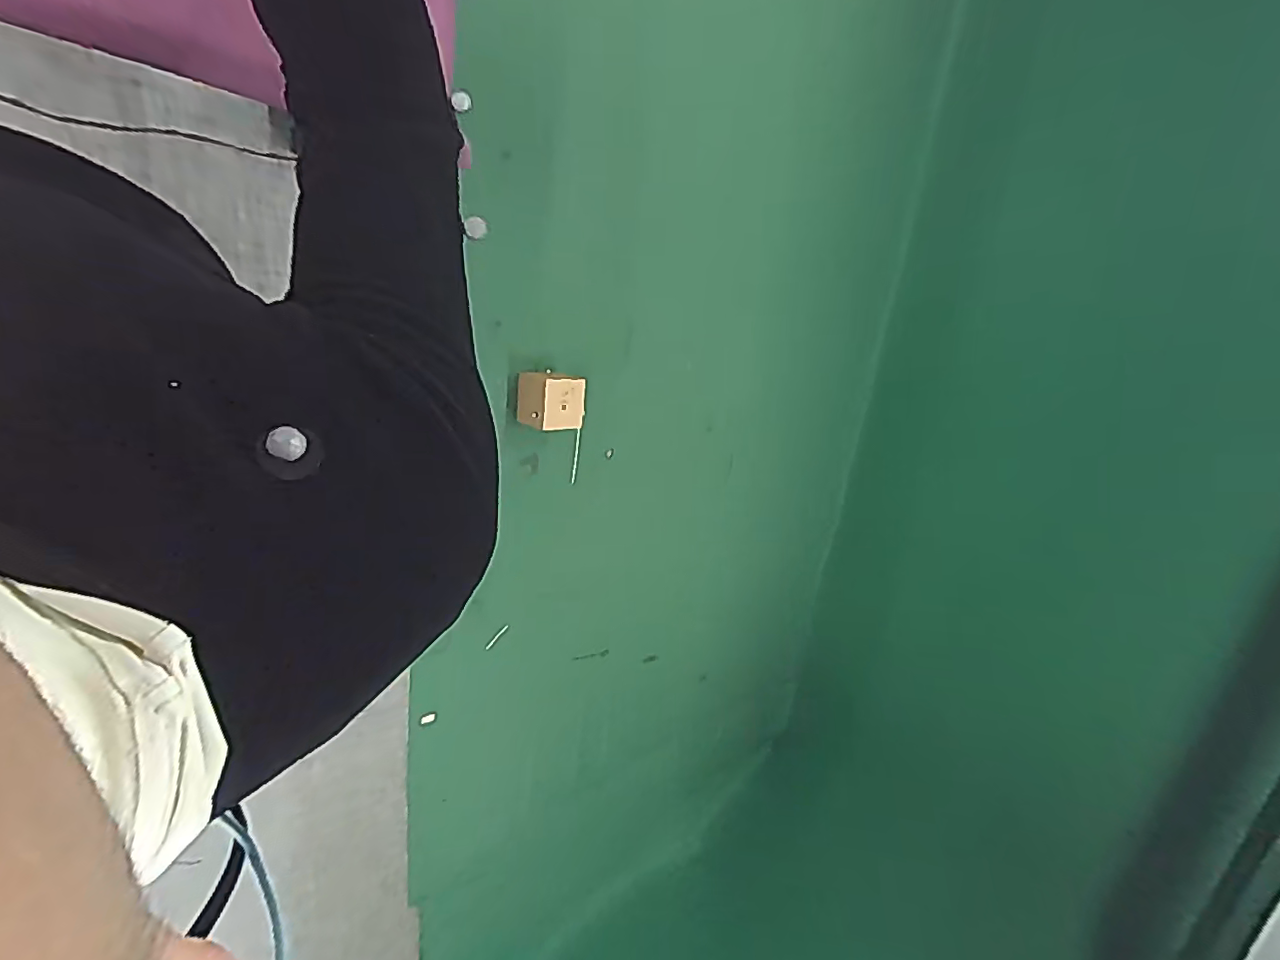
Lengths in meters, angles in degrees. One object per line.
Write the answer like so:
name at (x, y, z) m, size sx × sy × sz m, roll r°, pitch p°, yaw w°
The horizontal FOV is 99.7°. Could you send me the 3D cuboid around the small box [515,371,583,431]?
small box at (-0.320, -0.277, 1.883) m, size 0.168 × 0.176 × 0.179 m, roll -8°, pitch 112°, yaw -43°
